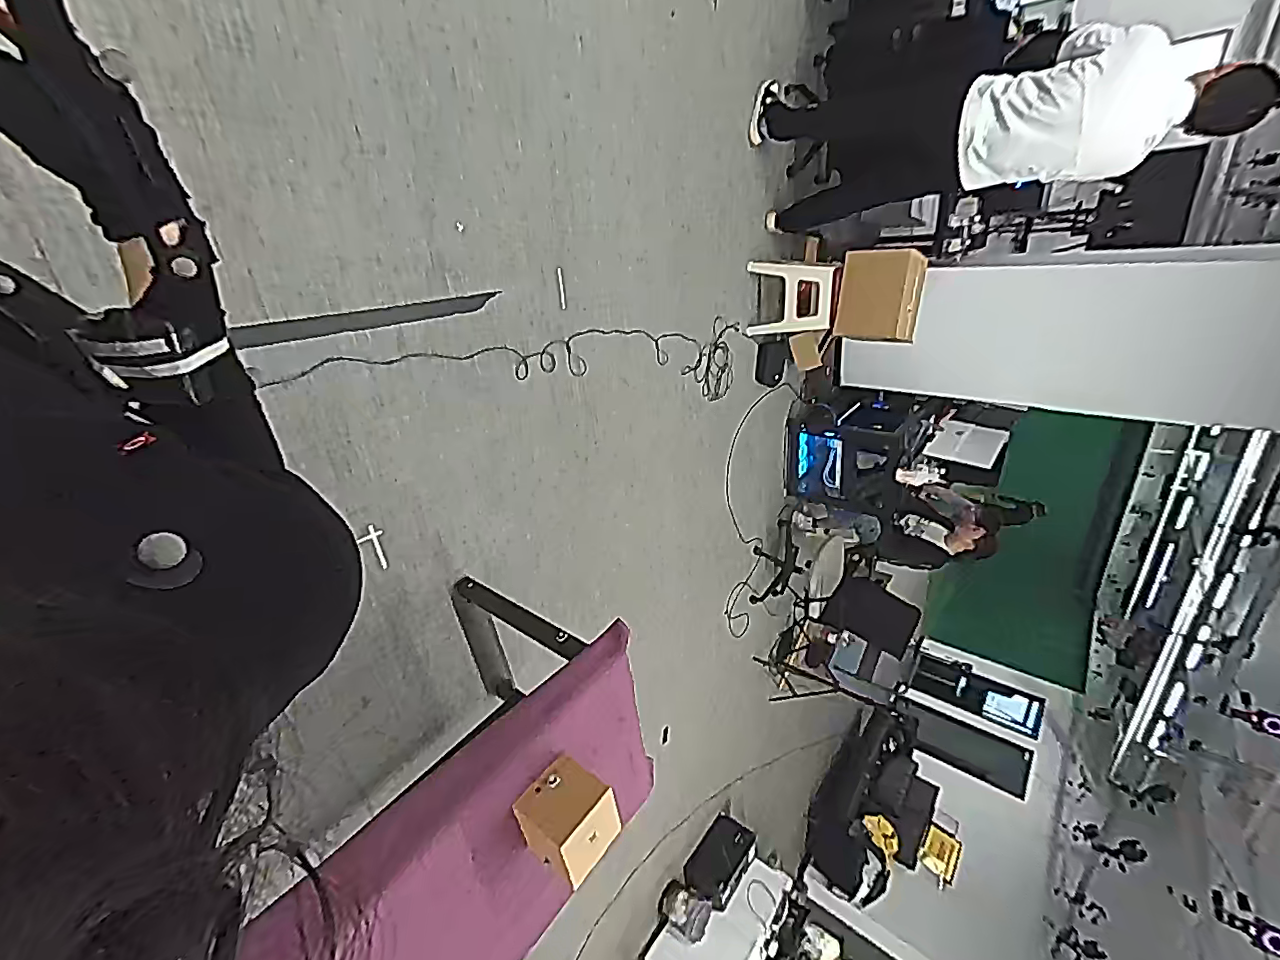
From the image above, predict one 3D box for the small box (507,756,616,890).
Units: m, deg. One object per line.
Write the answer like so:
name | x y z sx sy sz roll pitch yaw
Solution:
small box | -0.182 0.793 1.267 0.168 0.176 0.179 -36 128 -41
